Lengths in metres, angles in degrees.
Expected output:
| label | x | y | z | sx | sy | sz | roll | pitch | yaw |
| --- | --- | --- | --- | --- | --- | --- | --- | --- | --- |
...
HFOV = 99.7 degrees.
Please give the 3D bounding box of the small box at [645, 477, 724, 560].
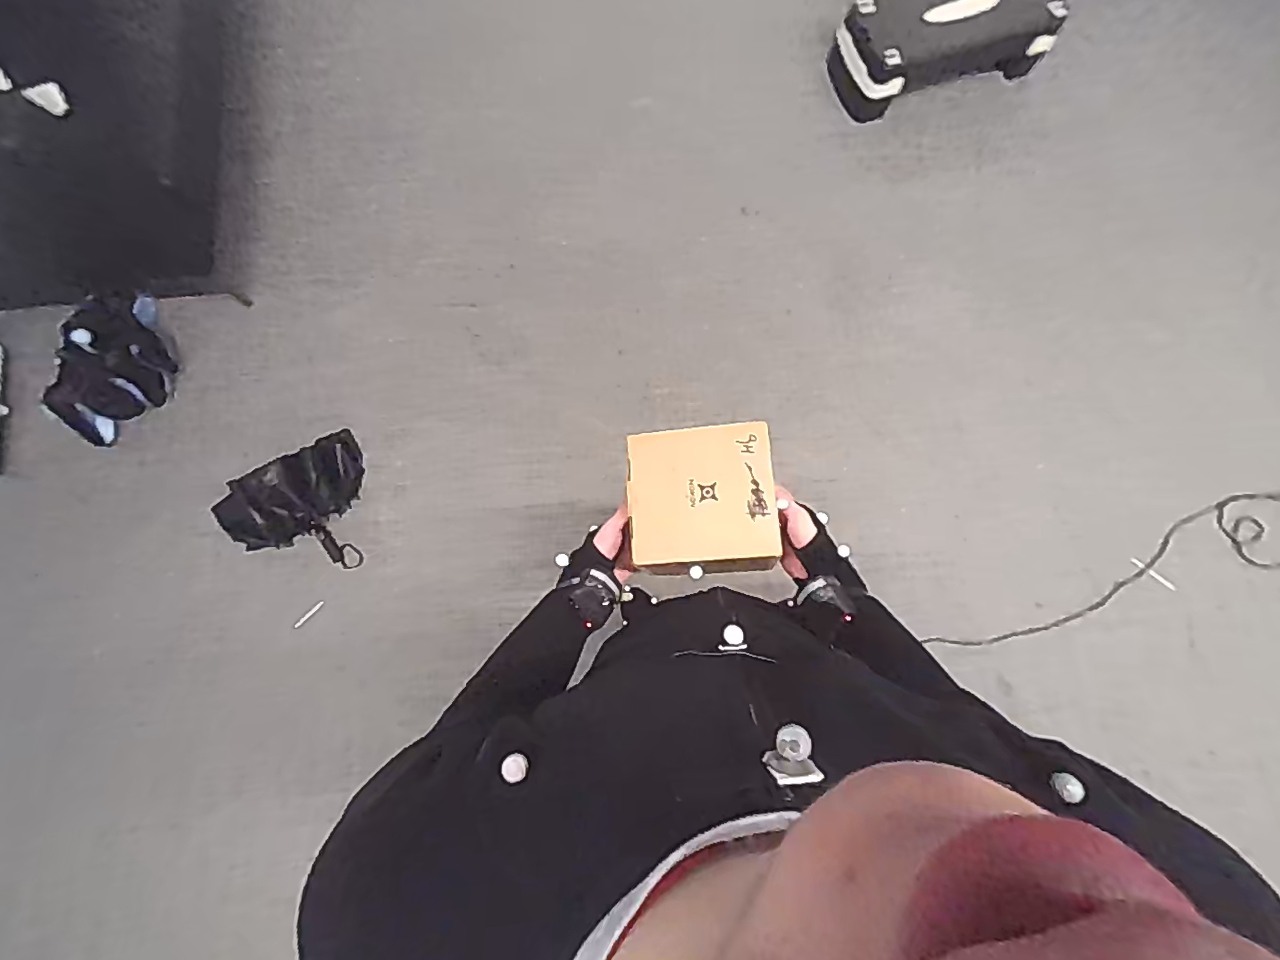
| label | x | y | z | sx | sy | sz | roll | pitch | yaw |
| --- | --- | --- | --- | --- | --- | --- | --- | --- | --- |
| small box | 0.104 | 0.102 | 1.354 | 0.168 | 0.176 | 0.179 | -10 | 81 | -1 |
